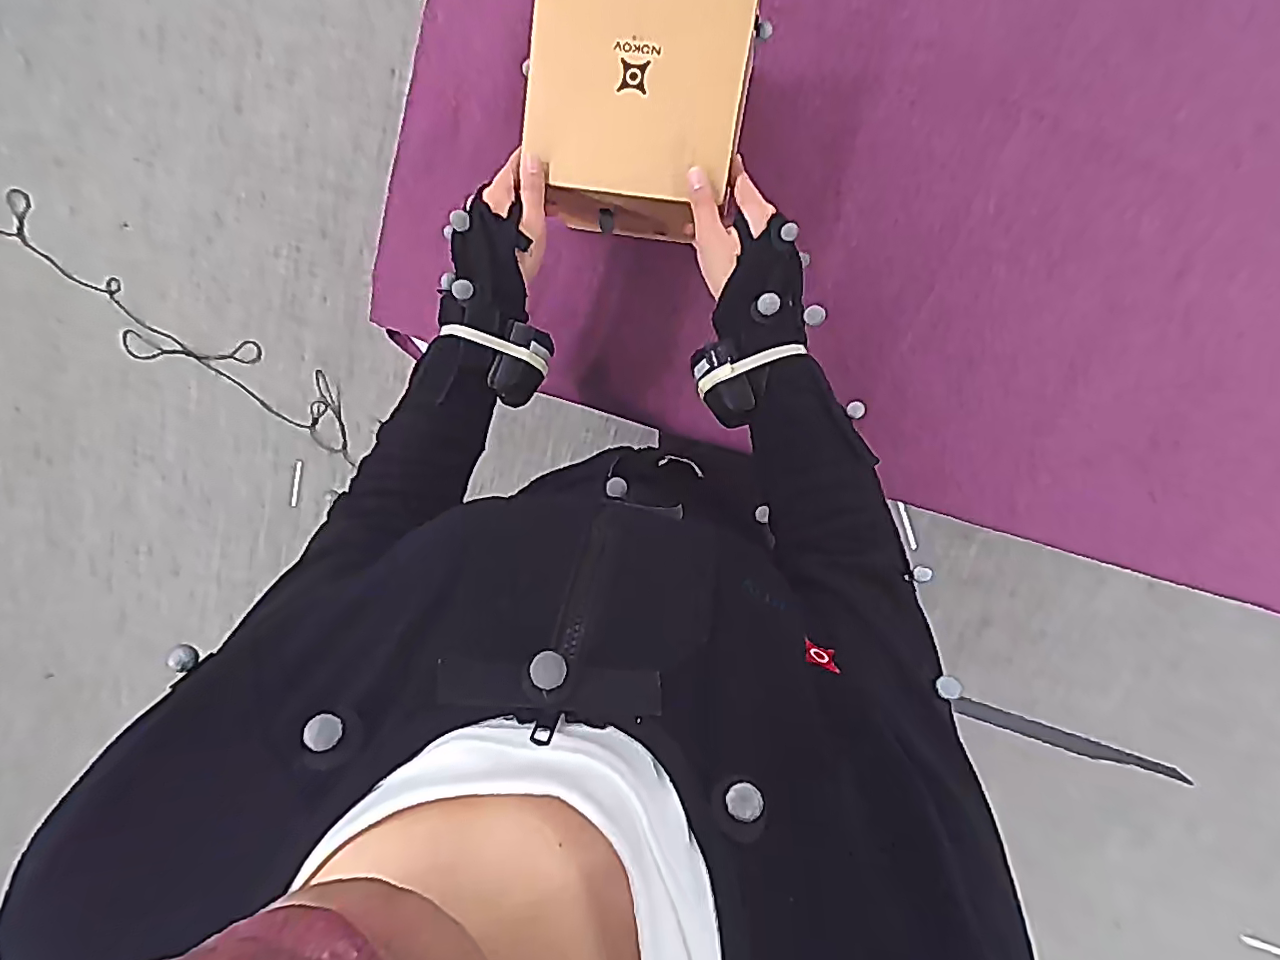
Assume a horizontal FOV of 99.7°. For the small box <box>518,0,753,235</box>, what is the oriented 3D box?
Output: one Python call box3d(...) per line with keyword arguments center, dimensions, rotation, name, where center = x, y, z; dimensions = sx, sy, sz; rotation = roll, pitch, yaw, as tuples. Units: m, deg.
box3d(center=(0.004, -0.331, 0.479), dimensions=(0.168, 0.176, 0.179), rotation=(9, 103, 5), name="small box")
